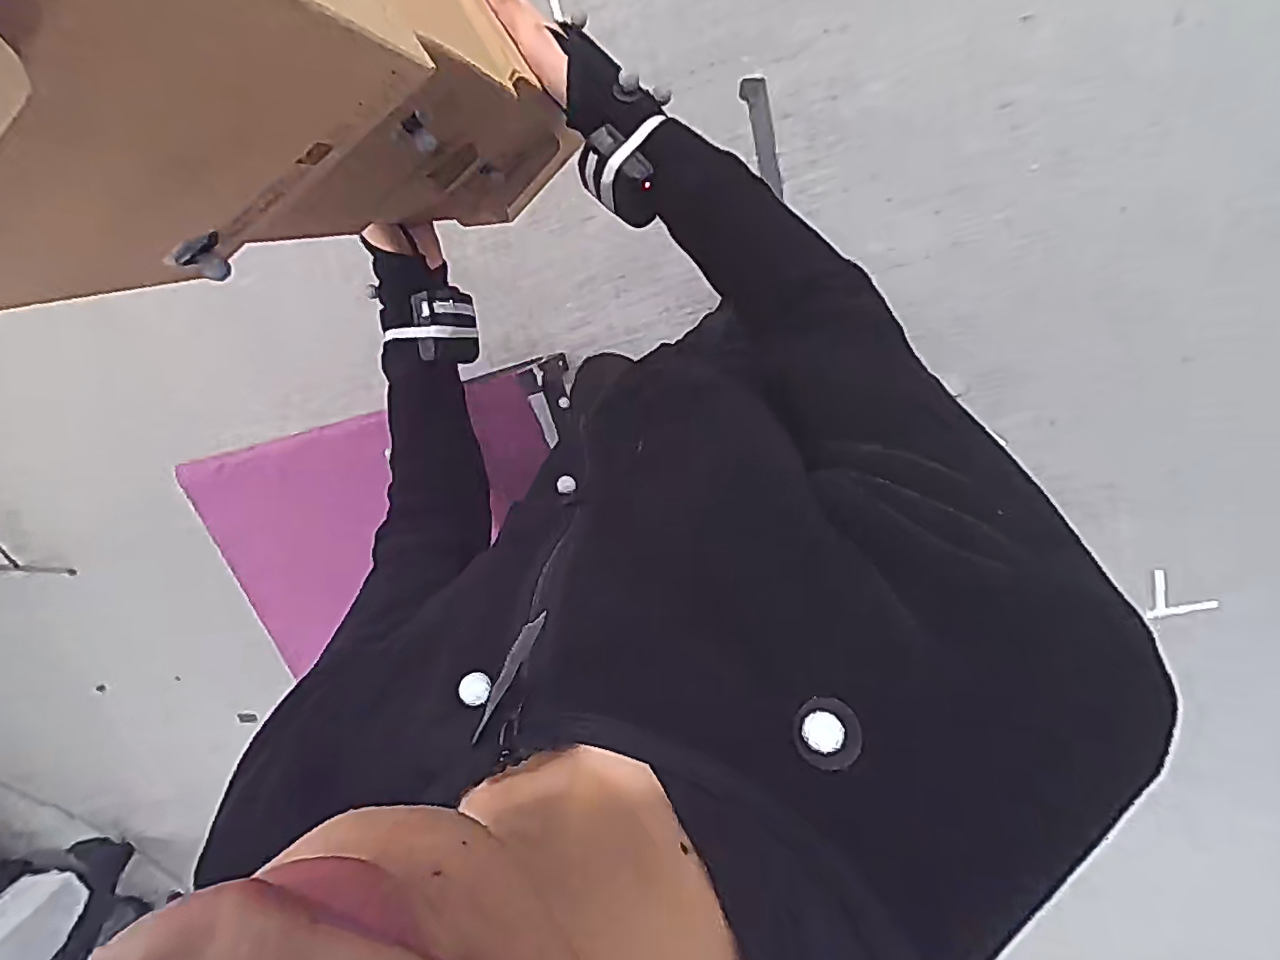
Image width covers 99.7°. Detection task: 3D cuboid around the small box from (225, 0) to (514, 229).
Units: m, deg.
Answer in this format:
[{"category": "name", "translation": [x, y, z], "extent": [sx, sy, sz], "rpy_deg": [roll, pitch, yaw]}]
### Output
[{"category": "small box", "translation": [-0.197, -0.265, 0.294], "extent": [0.168, 0.176, 0.179], "rpy_deg": [-27, 110, 18]}]

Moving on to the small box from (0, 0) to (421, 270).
[{"category": "small box", "translation": [-0.202, -0.179, 0.154], "extent": [0.168, 0.176, 0.179], "rpy_deg": [-28, 111, 17]}]
